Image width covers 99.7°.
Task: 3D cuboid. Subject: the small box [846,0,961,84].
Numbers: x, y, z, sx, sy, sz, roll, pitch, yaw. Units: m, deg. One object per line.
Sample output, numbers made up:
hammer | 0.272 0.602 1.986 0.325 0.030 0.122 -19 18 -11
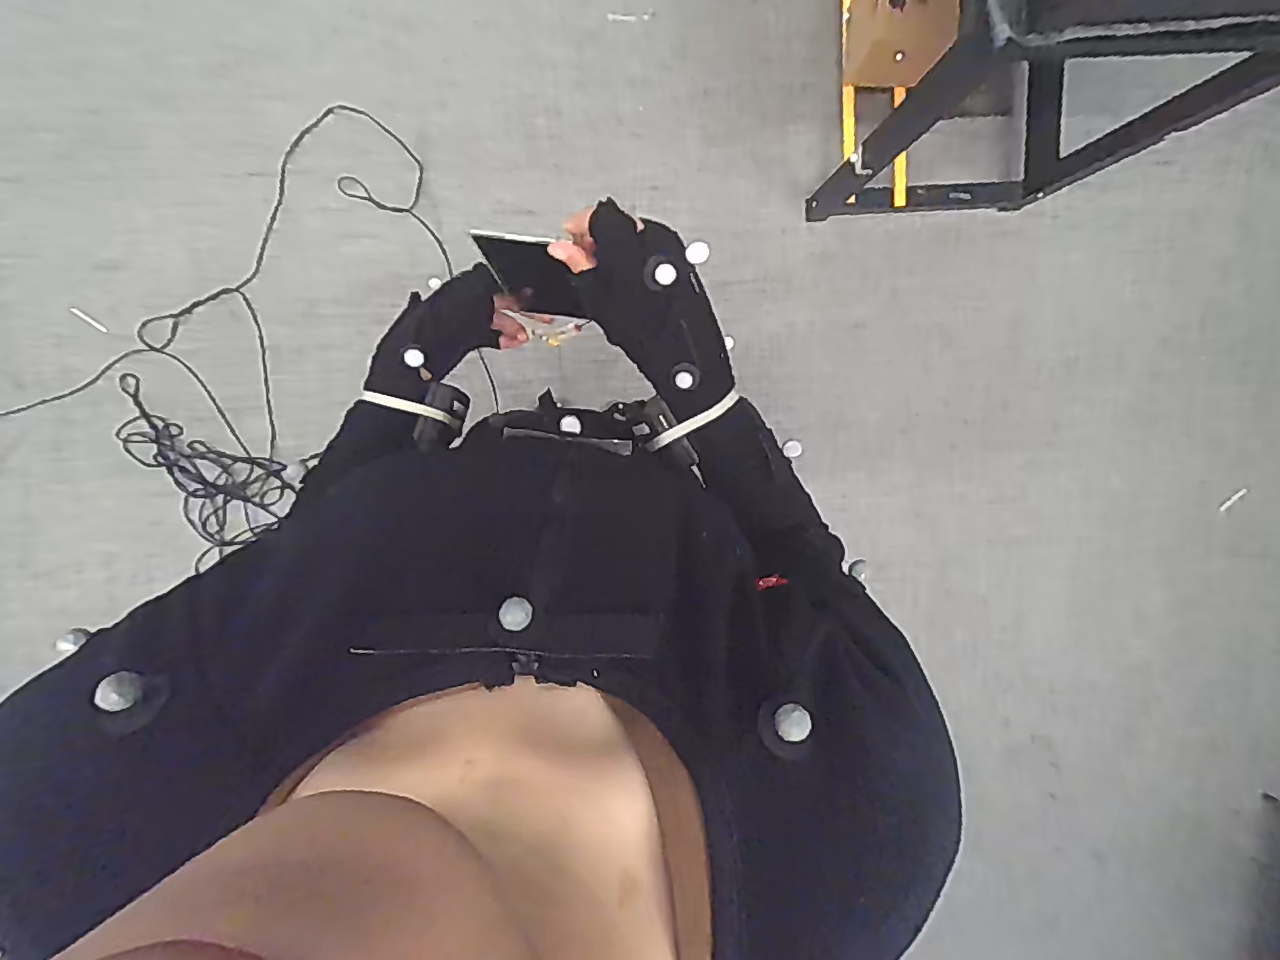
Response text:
small box | 0.566 -0.996 1.175 0.179 0.176 0.168 0 98 -2
